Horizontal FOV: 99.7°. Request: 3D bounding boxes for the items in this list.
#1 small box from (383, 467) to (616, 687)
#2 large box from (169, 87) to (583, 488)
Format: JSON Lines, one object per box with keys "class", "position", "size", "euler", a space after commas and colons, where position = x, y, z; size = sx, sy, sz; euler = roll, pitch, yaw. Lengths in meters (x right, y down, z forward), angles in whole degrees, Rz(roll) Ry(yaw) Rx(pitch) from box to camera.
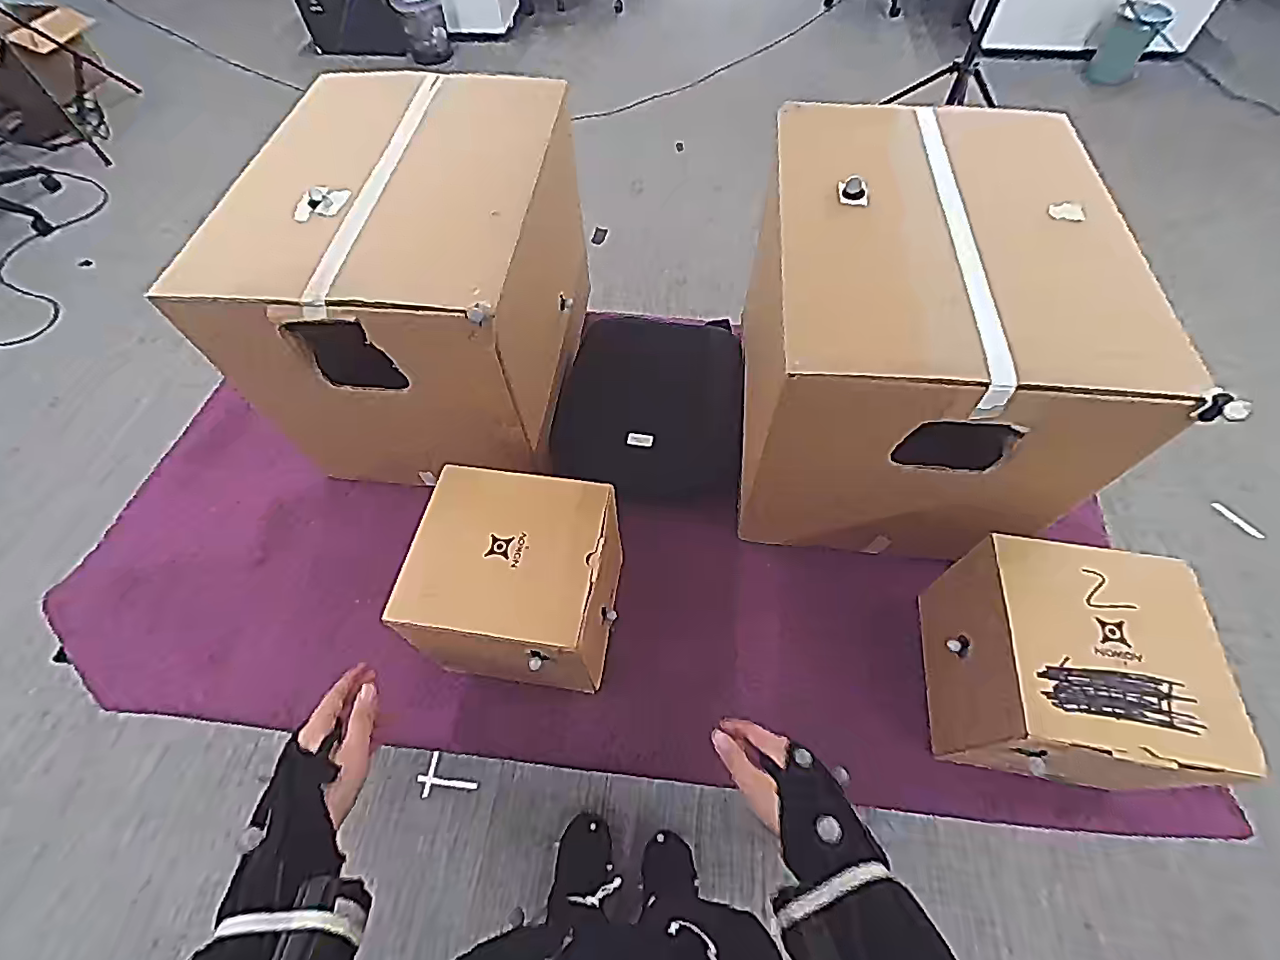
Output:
{"class": "small box", "position": [-0.126, 0.107, 0.568], "size": [0.179, 0.176, 0.168], "euler": [6, 57, 4]}
{"class": "large box", "position": [-0.257, -0.234, 0.700], "size": [0.320, 0.320, 0.408], "euler": [3, 61, 4]}
